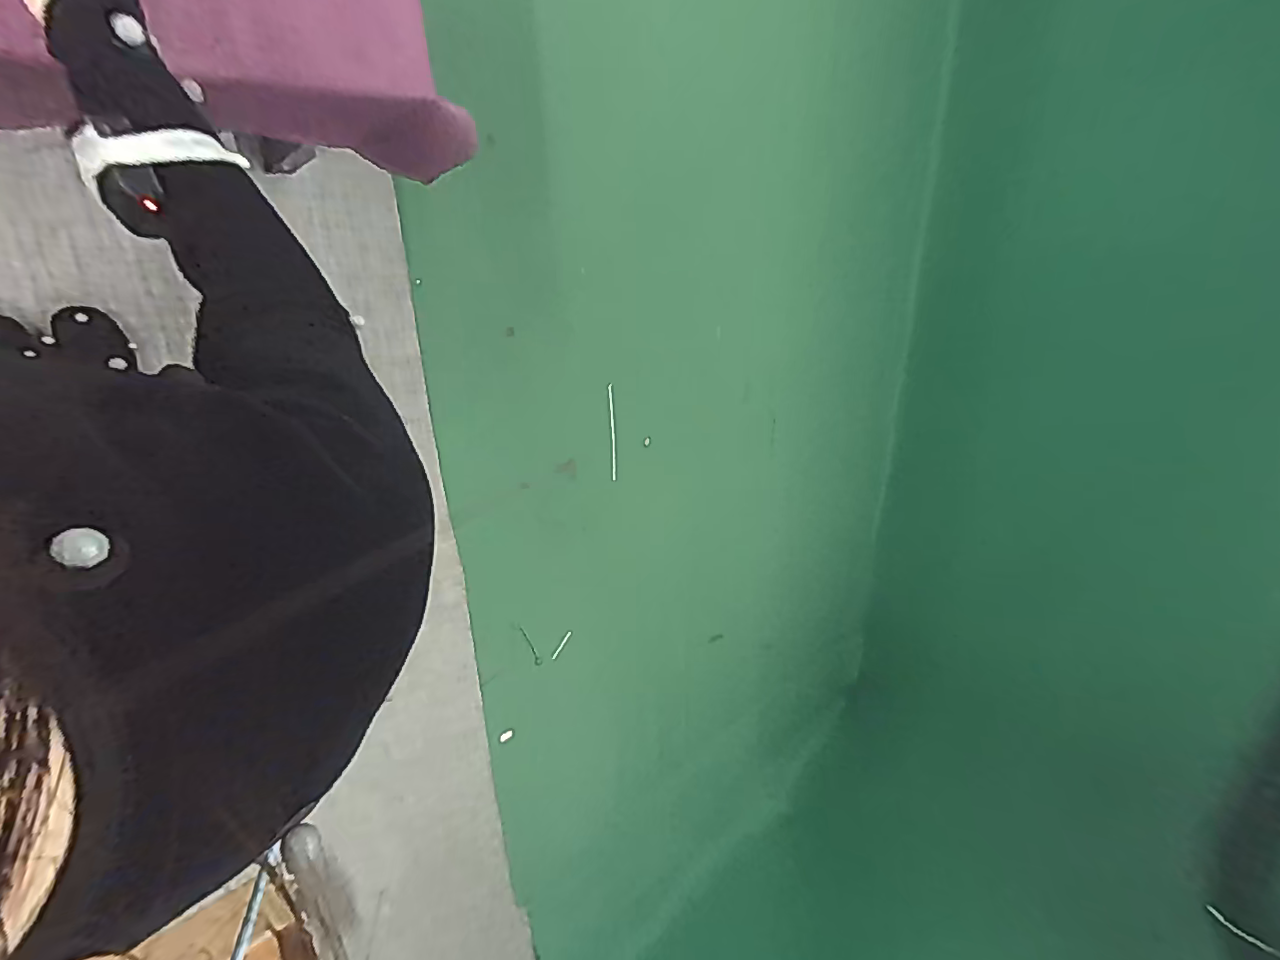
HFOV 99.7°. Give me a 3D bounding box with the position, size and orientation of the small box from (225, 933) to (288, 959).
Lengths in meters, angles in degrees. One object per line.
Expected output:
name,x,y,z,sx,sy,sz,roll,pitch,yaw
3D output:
small box,-1.046,1.392,1.467,0.168,0.176,0.179,-15,114,-39
